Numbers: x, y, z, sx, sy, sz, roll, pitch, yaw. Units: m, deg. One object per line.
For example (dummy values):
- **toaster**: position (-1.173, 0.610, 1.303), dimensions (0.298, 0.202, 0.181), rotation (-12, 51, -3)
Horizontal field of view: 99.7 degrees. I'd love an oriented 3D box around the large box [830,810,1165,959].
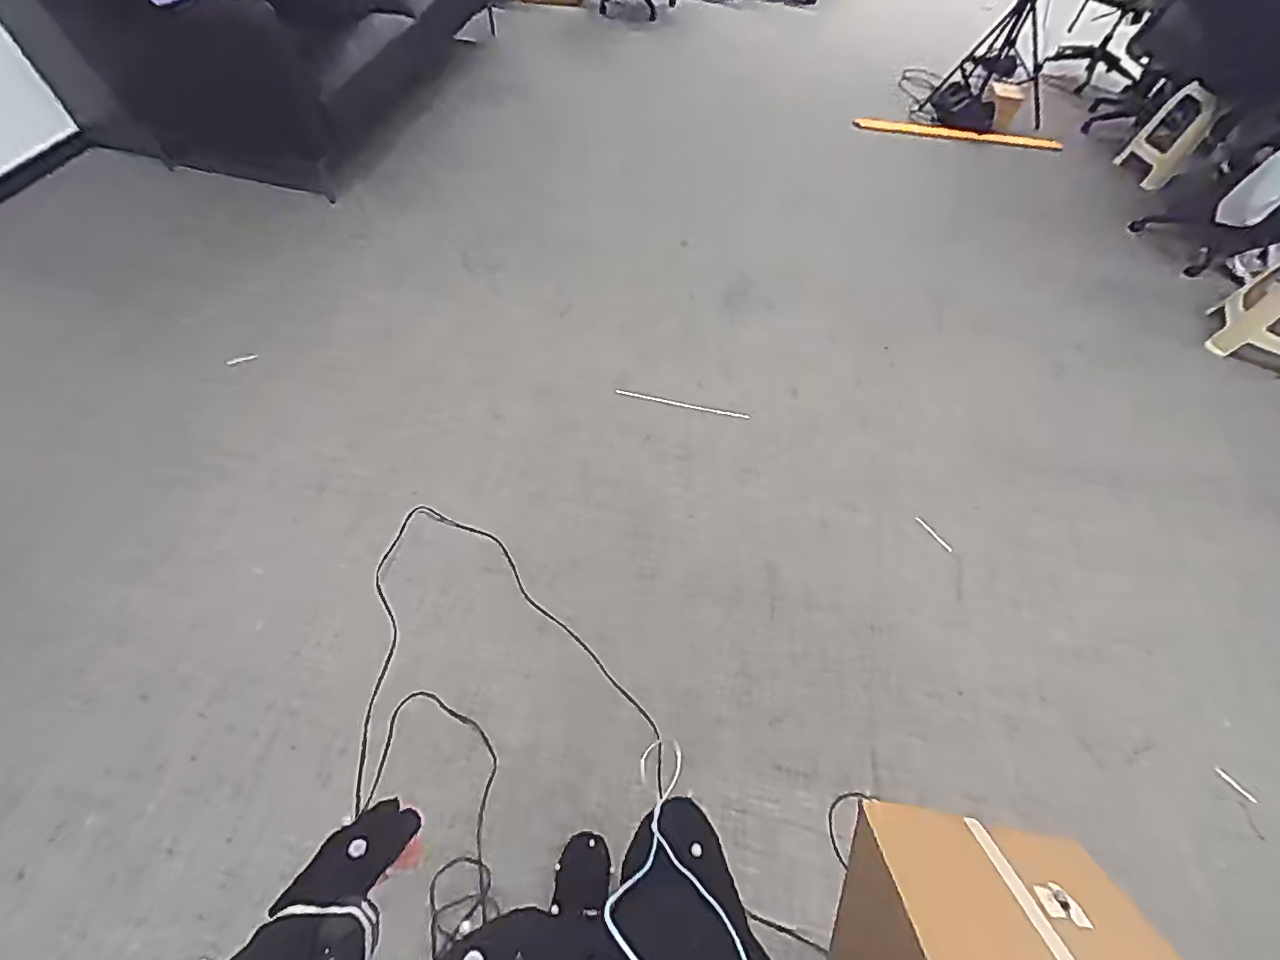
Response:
- **large box**: position (0.442, 0.689, 0.629), dimensions (0.320, 0.408, 0.320), rotation (10, 97, 5)
